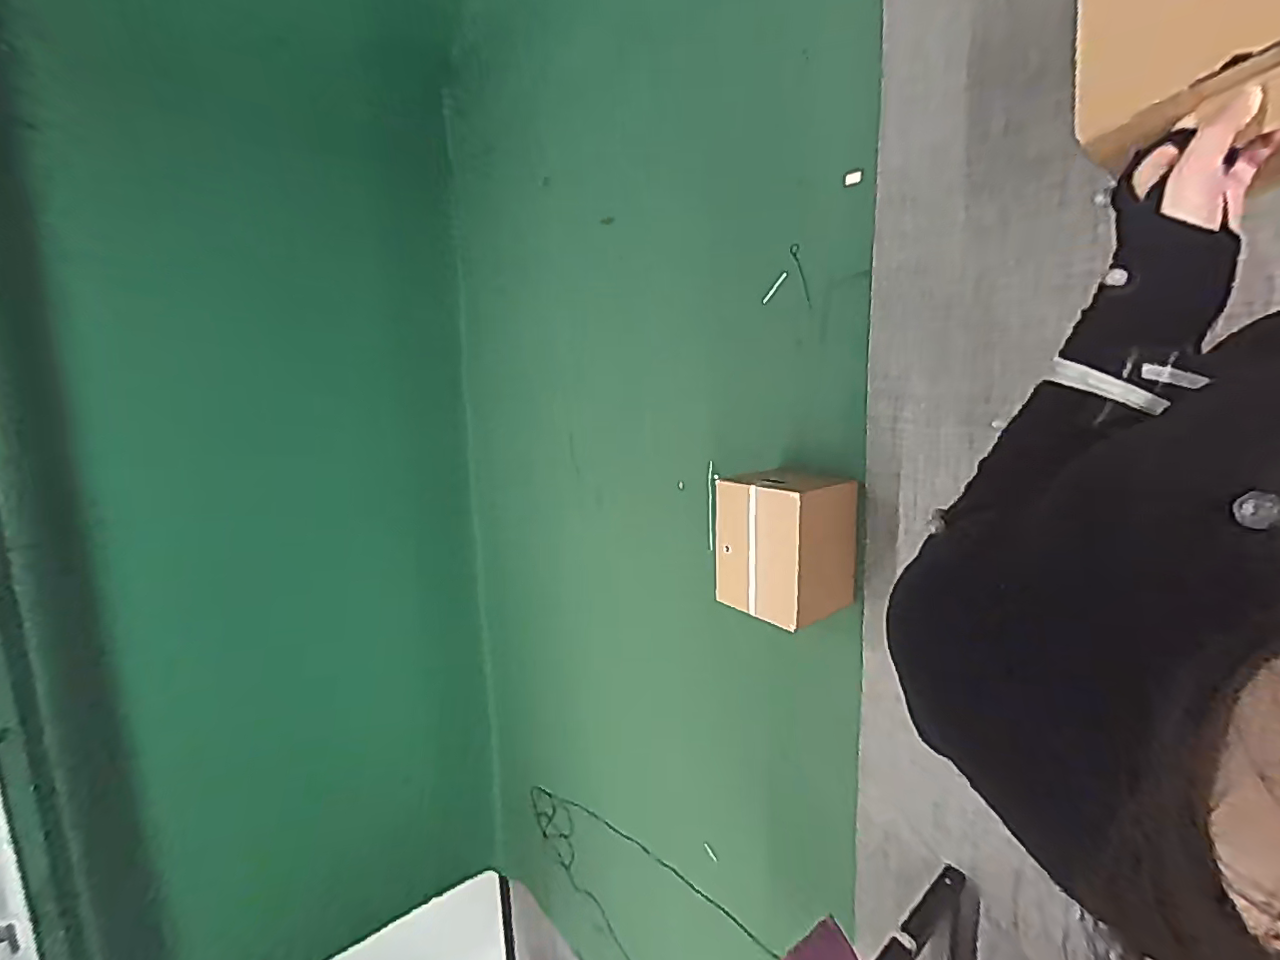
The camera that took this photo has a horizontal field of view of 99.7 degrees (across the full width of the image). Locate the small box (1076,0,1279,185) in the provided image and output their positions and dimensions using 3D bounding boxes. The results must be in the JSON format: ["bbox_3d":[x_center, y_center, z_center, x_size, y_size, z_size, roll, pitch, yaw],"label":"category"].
[{"bbox_3d":[0.438,-0.335,0.371,0.168,0.176,0.179,-1,82,61],"label":"small box"}]
